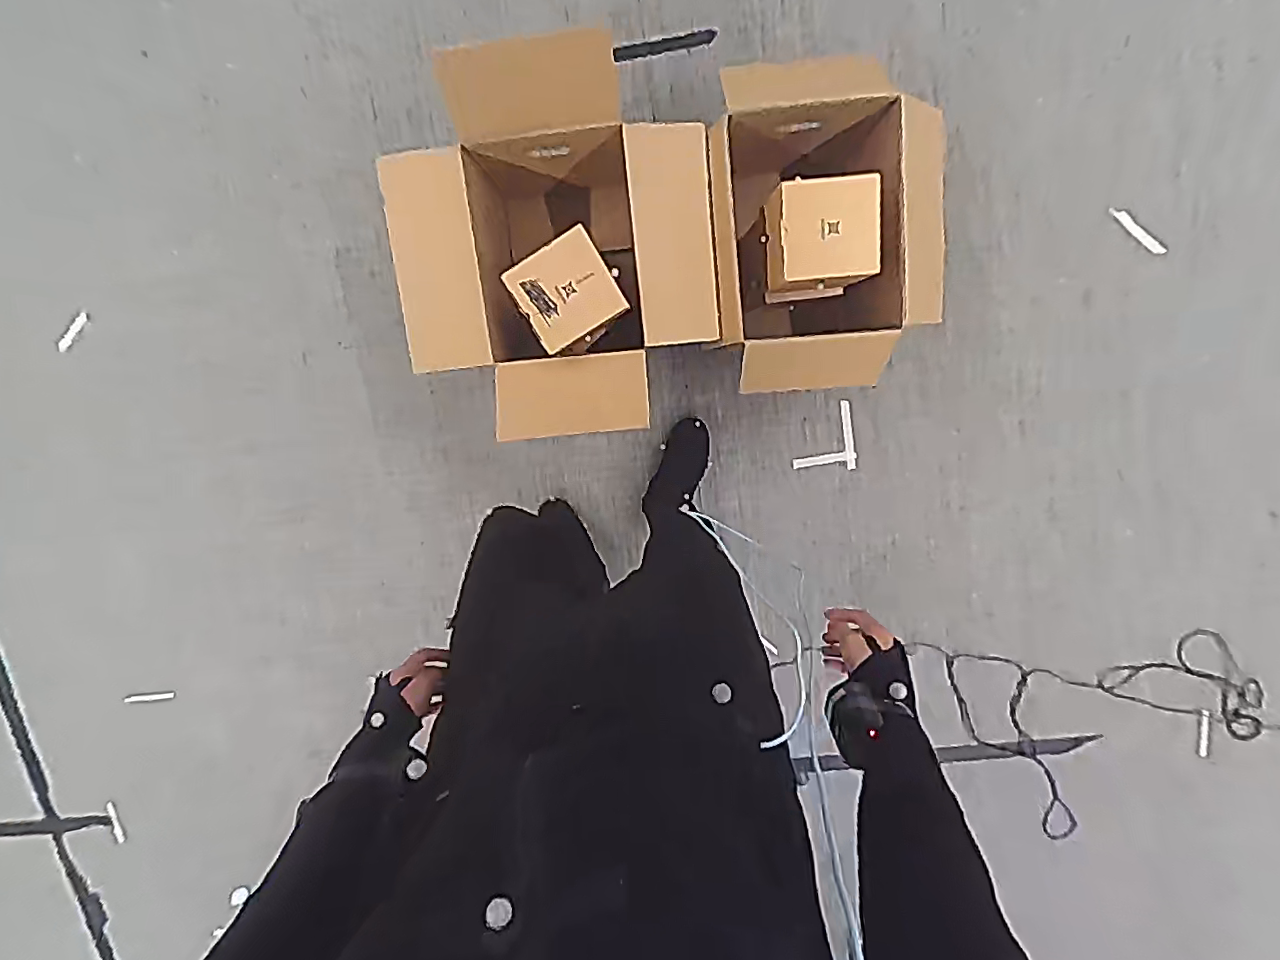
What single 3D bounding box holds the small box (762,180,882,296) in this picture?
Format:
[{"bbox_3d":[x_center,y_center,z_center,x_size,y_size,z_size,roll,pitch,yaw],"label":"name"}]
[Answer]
[{"bbox_3d":[0.338,-0.450,1.029,0.179,0.176,0.168,-5,102,2],"label":"small box"}]
